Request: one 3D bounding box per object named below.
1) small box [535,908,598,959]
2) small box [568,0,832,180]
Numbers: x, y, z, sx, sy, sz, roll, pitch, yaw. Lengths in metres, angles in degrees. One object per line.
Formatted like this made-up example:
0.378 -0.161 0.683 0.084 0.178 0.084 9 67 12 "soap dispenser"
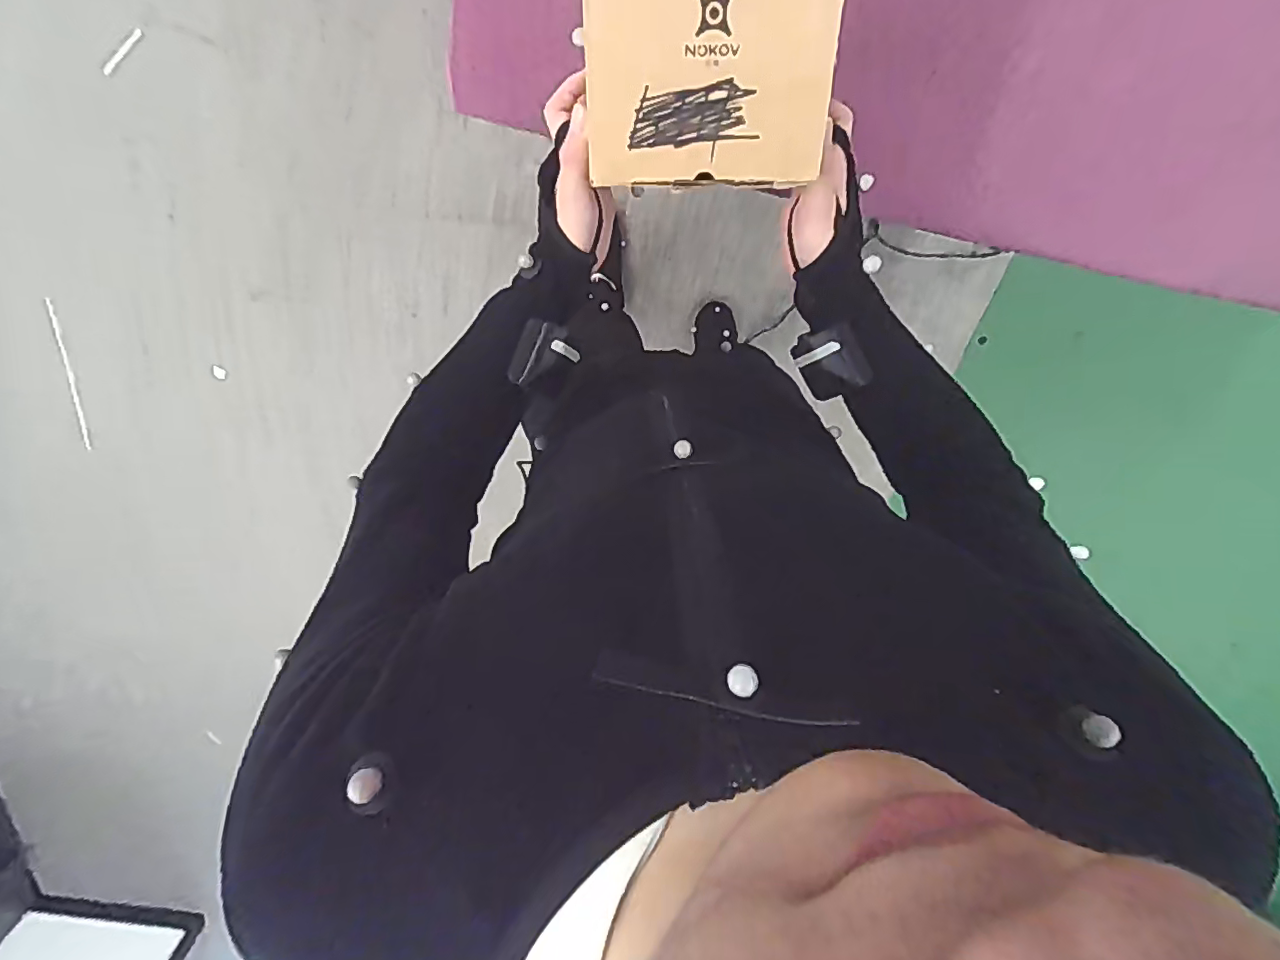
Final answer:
-0.231 1.470 1.666 0.168 0.176 0.179 16 115 -7 "small box"
0.039 -0.328 0.406 0.168 0.176 0.179 1 120 1 "small box"
